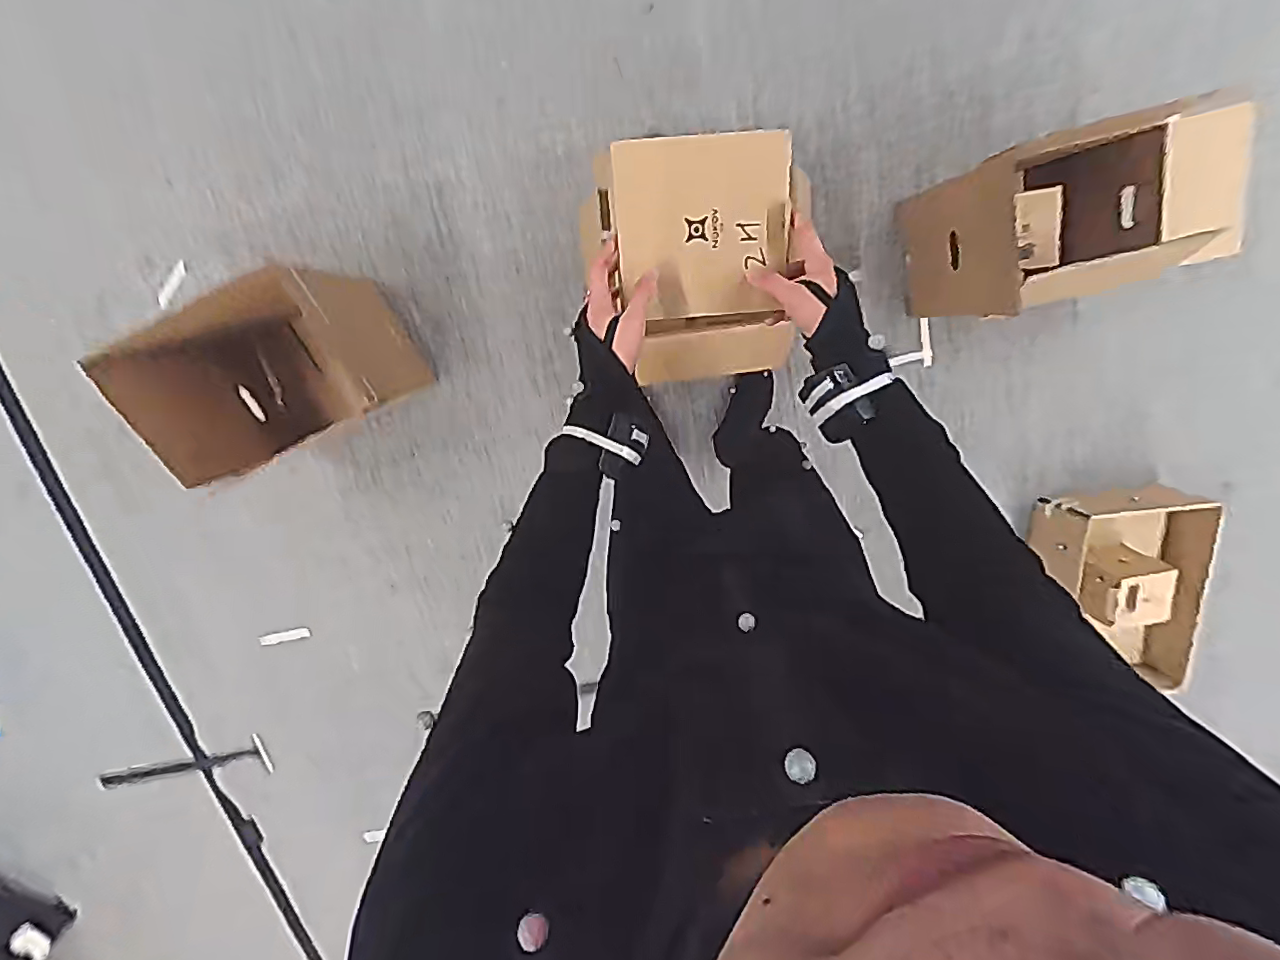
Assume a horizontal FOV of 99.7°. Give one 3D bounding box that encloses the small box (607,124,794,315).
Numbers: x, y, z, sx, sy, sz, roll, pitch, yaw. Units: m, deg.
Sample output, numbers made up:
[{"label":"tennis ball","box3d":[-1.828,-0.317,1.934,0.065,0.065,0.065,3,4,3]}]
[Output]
[{"label":"small box","box3d":[0.055,-0.278,0.601,0.179,0.176,0.168,-5,112,-3]}]
